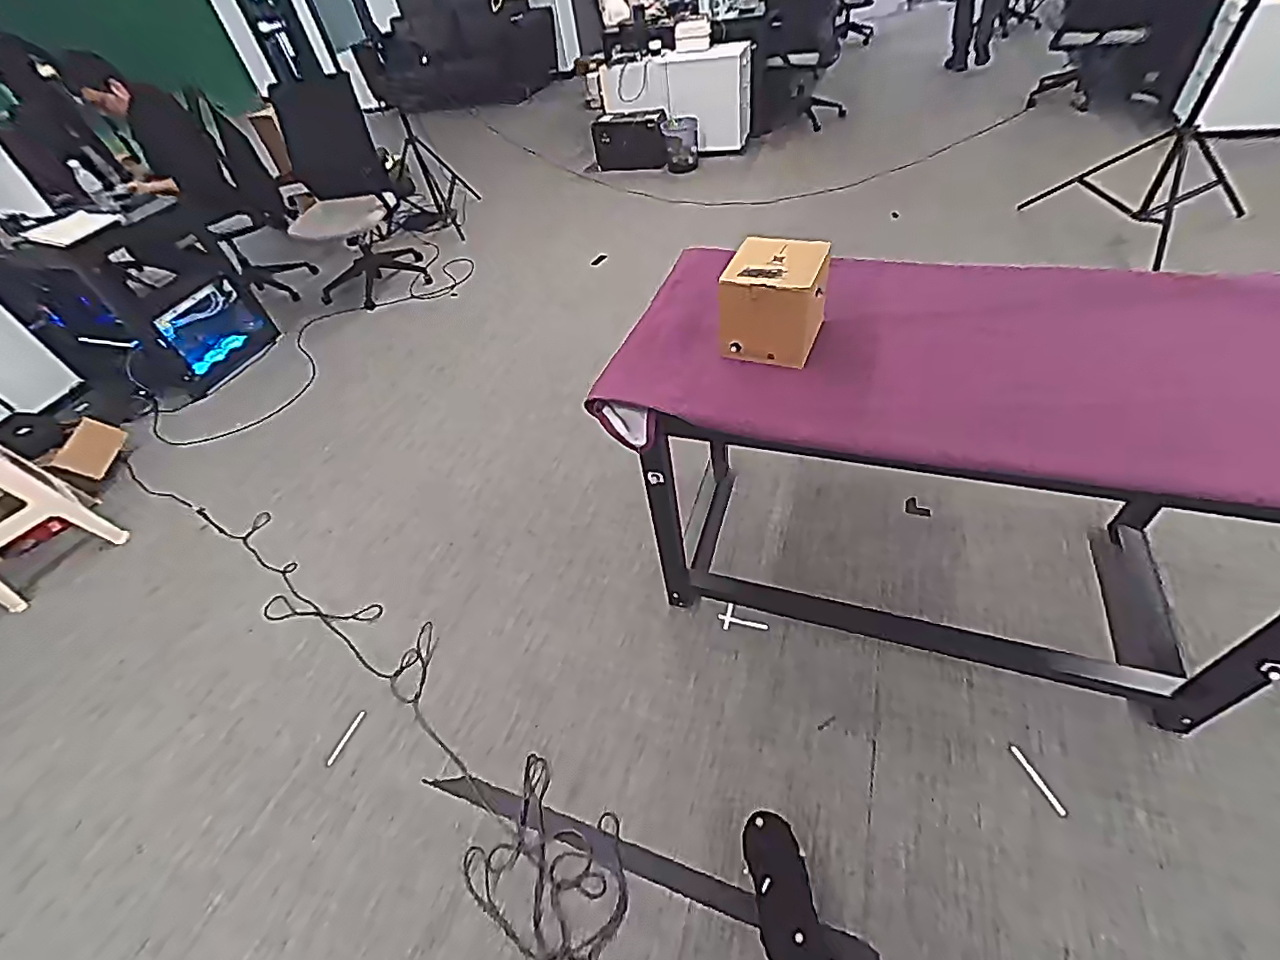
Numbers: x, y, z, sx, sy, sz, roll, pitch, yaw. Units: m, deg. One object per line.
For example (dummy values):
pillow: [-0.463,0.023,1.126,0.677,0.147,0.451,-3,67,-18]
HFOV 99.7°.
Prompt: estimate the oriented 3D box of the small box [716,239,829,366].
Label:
small box: [0.257,-0.344,1.051,0.168,0.176,0.179,15,52,22]
